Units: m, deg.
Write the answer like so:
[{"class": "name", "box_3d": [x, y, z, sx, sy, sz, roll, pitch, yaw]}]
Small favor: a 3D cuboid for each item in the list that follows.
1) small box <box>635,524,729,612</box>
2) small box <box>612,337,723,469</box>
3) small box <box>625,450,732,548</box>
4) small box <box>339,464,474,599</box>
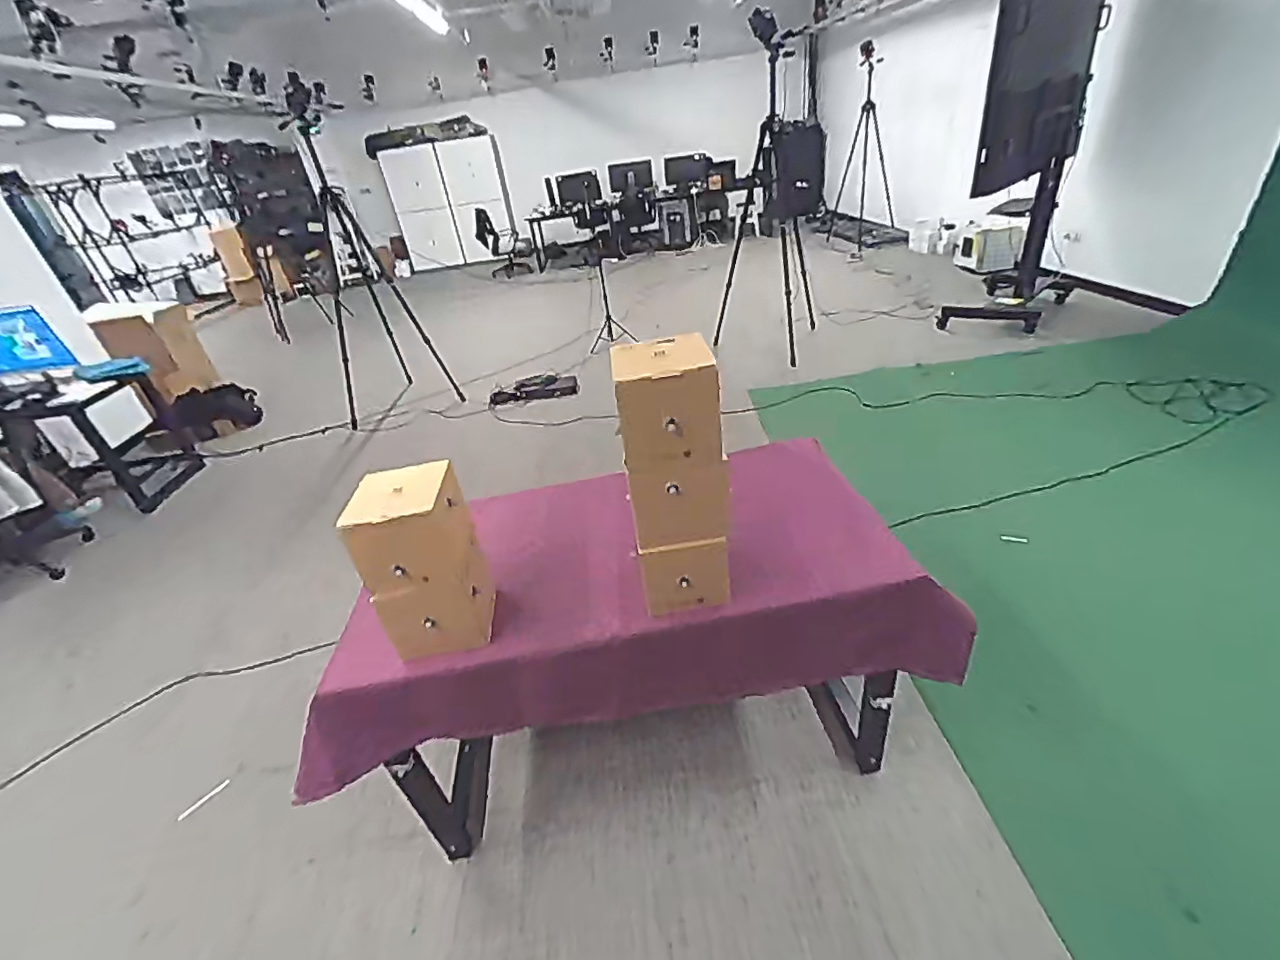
[{"class": "small box", "box_3d": [0.084, 0.153, 1.105, 0.168, 0.176, 0.179, -8, 32, 0]}, {"class": "small box", "box_3d": [0.046, -0.130, 0.940, 0.168, 0.176, 0.179, -8, 33, 0]}, {"class": "small box", "box_3d": [0.070, 0.012, 1.020, 0.179, 0.176, 0.168, -8, 32, 0]}, {"class": "small box", "box_3d": [-0.421, 0.094, 1.011, 0.168, 0.176, 0.179, -10, 32, -2]}]
